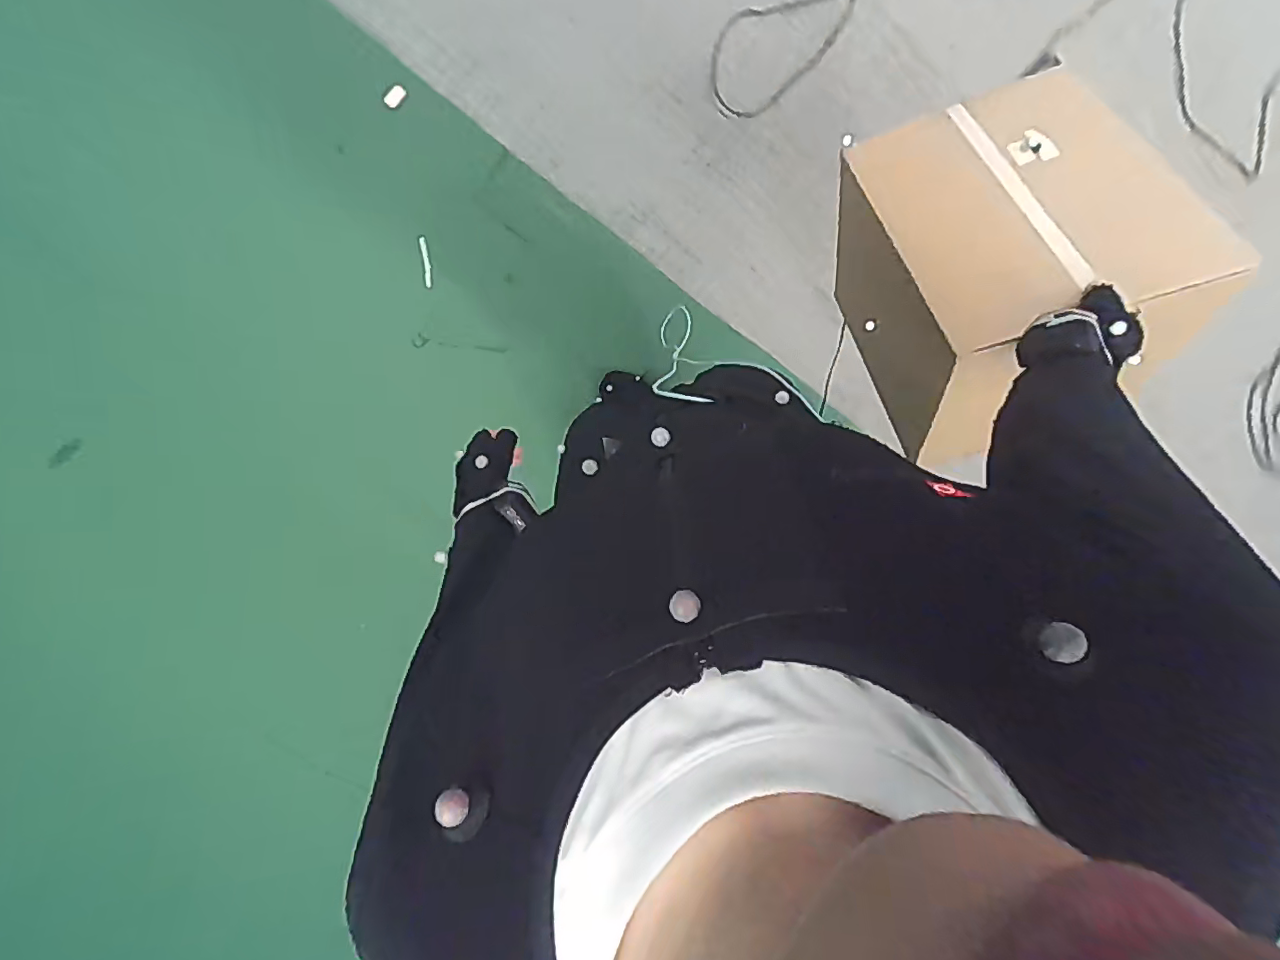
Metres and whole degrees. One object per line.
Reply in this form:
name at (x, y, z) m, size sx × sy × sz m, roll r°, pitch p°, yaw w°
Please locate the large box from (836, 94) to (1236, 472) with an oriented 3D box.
large box at (0.524, -0.281, 0.839) m, size 0.320 × 0.320 × 0.408 m, roll -15°, pitch 62°, yaw 9°
